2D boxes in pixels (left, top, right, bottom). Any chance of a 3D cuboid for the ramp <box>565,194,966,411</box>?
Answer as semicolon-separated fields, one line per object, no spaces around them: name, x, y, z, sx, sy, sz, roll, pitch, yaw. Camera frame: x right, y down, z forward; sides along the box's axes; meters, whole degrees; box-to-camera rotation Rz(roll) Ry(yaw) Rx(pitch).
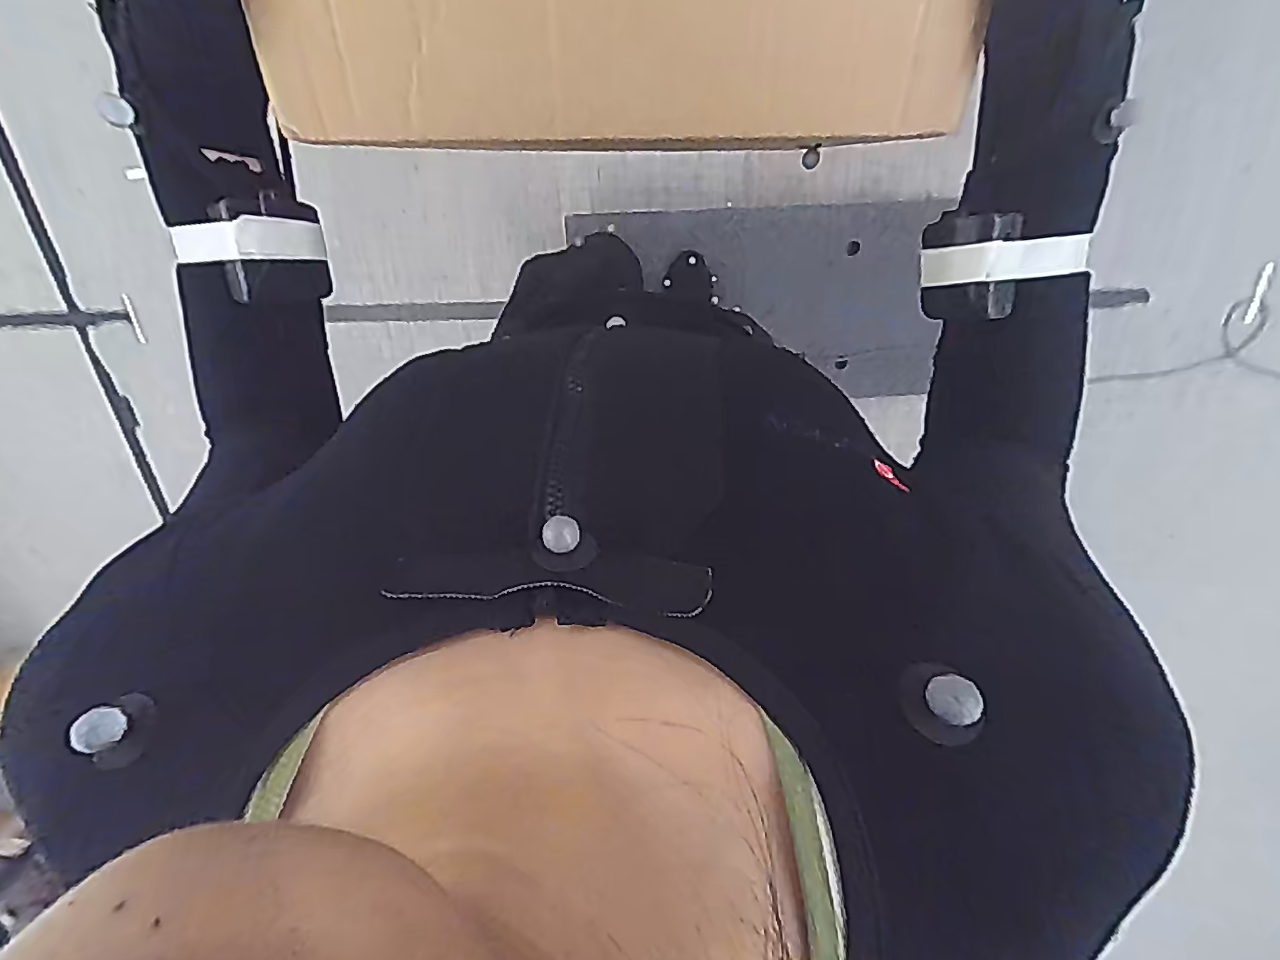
ramp;0.326;-0.451;1.405;0.991;0.206;0.509;-2;112;7

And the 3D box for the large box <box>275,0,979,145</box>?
large box;-0.005;-0.423;0.385;0.408;0.320;0.320;0;120;0
